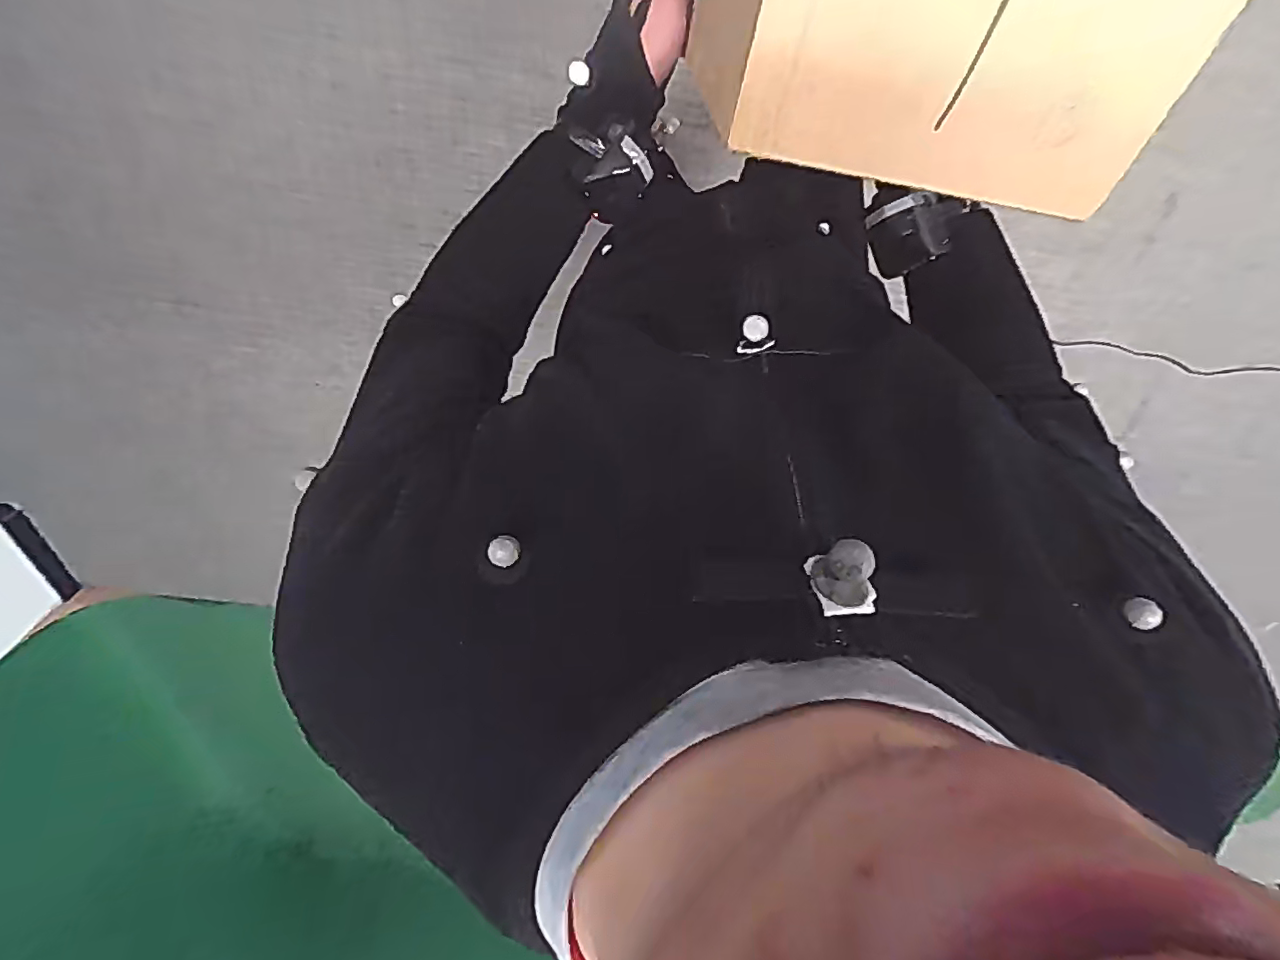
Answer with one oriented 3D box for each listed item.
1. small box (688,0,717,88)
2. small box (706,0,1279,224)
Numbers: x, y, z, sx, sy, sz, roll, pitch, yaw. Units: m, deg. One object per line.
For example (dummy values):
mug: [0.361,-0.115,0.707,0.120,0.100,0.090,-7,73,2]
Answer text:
small box: [0.128,-0.344,0.336,0.168,0.176,0.179,7,129,-6]
small box: [0.129,-0.232,0.214,0.168,0.176,0.179,8,132,-7]
